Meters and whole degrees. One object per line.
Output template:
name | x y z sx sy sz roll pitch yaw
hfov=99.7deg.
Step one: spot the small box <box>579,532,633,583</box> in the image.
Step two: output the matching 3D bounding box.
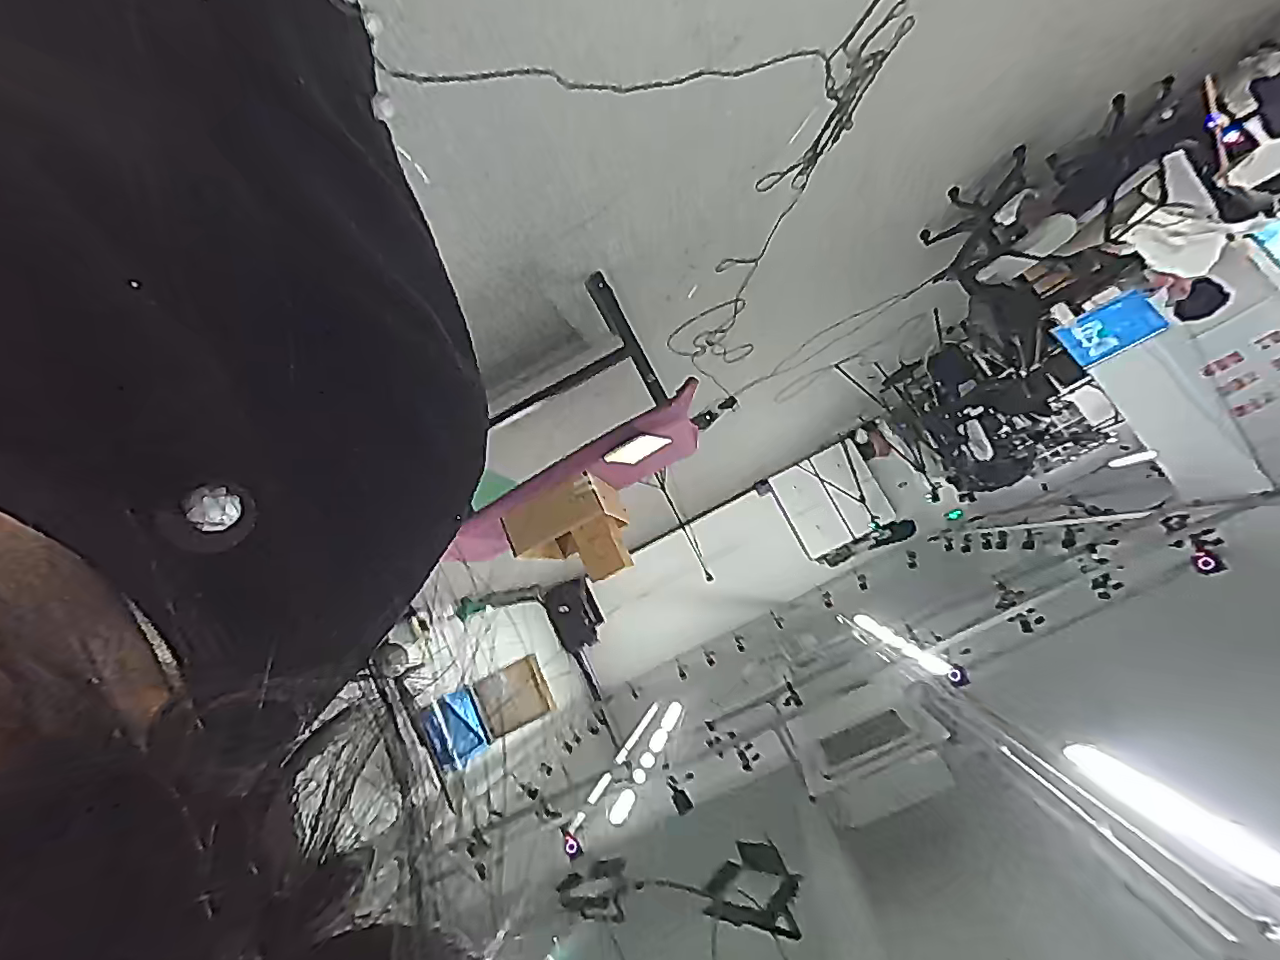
small box | -0.157 0.353 2.447 0.179 0.176 0.168 -30 167 7
